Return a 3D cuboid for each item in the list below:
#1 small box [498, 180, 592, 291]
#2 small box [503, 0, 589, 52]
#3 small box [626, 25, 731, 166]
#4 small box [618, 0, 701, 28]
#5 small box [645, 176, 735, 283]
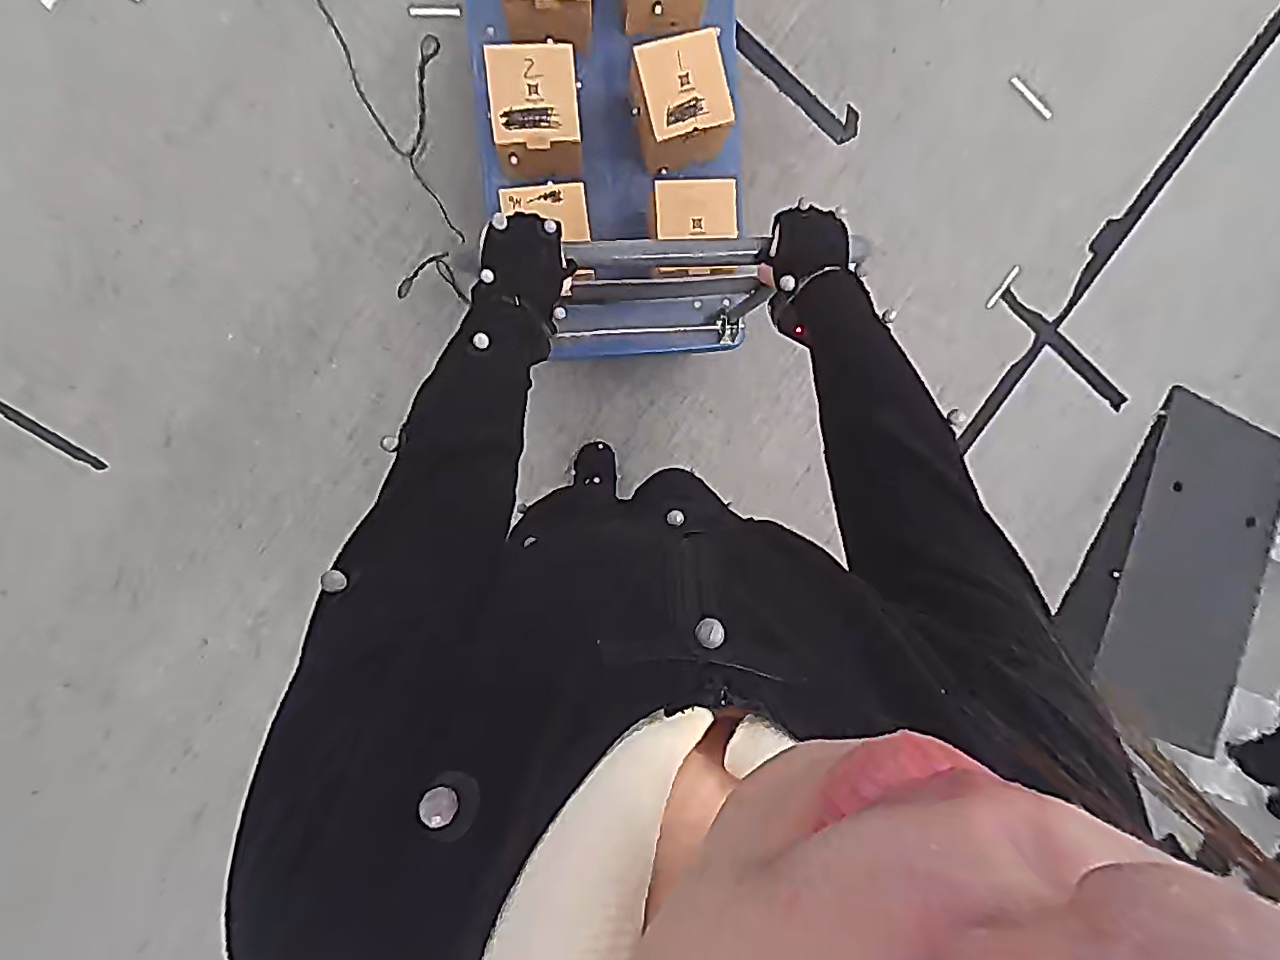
[{"bbox_3d":[-0.193,-0.501,1.135,0.168,0.176,0.179,-8,99,-6],"label":"small box"},{"bbox_3d":[-0.188,-0.996,1.066,0.168,0.176,0.179,-3,99,-6],"label":"small box"},{"bbox_3d":[0.073,-0.783,1.125,0.168,0.176,0.179,-16,98,-4],"label":"small box"},{"bbox_3d":[0.040,-1.050,1.085,0.168,0.176,0.179,-7,98,-5],"label":"small box"},{"bbox_3d":[0.102,-0.529,1.165,0.168,0.176,0.179,-4,98,-6],"label":"small box"}]
